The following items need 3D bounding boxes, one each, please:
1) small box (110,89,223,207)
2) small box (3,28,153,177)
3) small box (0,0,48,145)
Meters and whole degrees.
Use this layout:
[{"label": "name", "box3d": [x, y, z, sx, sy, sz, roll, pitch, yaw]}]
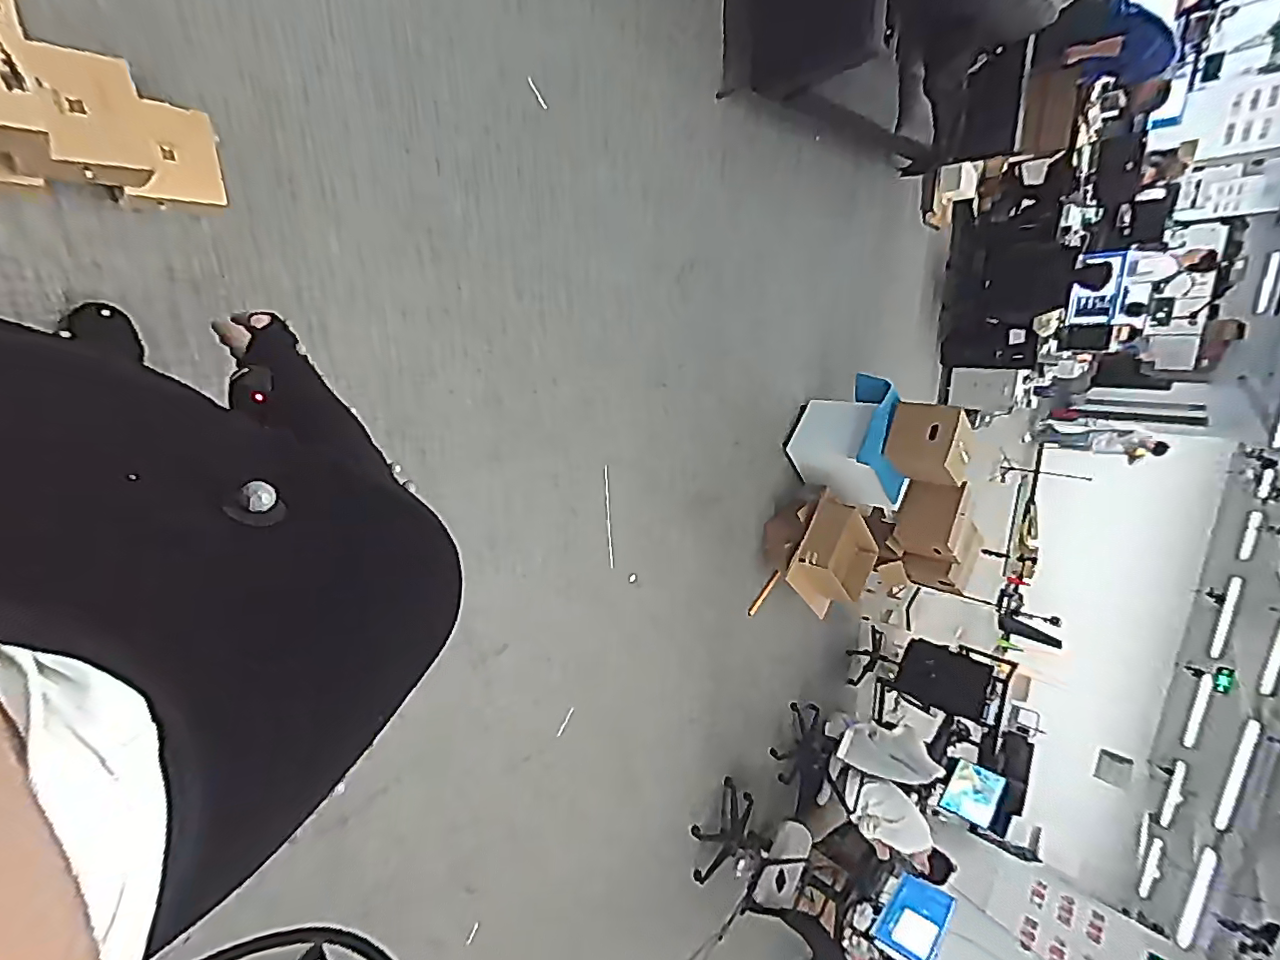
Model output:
[{"label": "small box", "box3d": [-0.993, -0.678, 1.117, 0.168, 0.176, 0.179, -17, 112, -43]}, {"label": "small box", "box3d": [-0.969, -0.625, 0.913, 0.179, 0.176, 0.168, -21, 115, -44]}, {"label": "small box", "box3d": [-0.937, -0.567, 0.717, 0.179, 0.176, 0.168, -17, 113, -43]}]
